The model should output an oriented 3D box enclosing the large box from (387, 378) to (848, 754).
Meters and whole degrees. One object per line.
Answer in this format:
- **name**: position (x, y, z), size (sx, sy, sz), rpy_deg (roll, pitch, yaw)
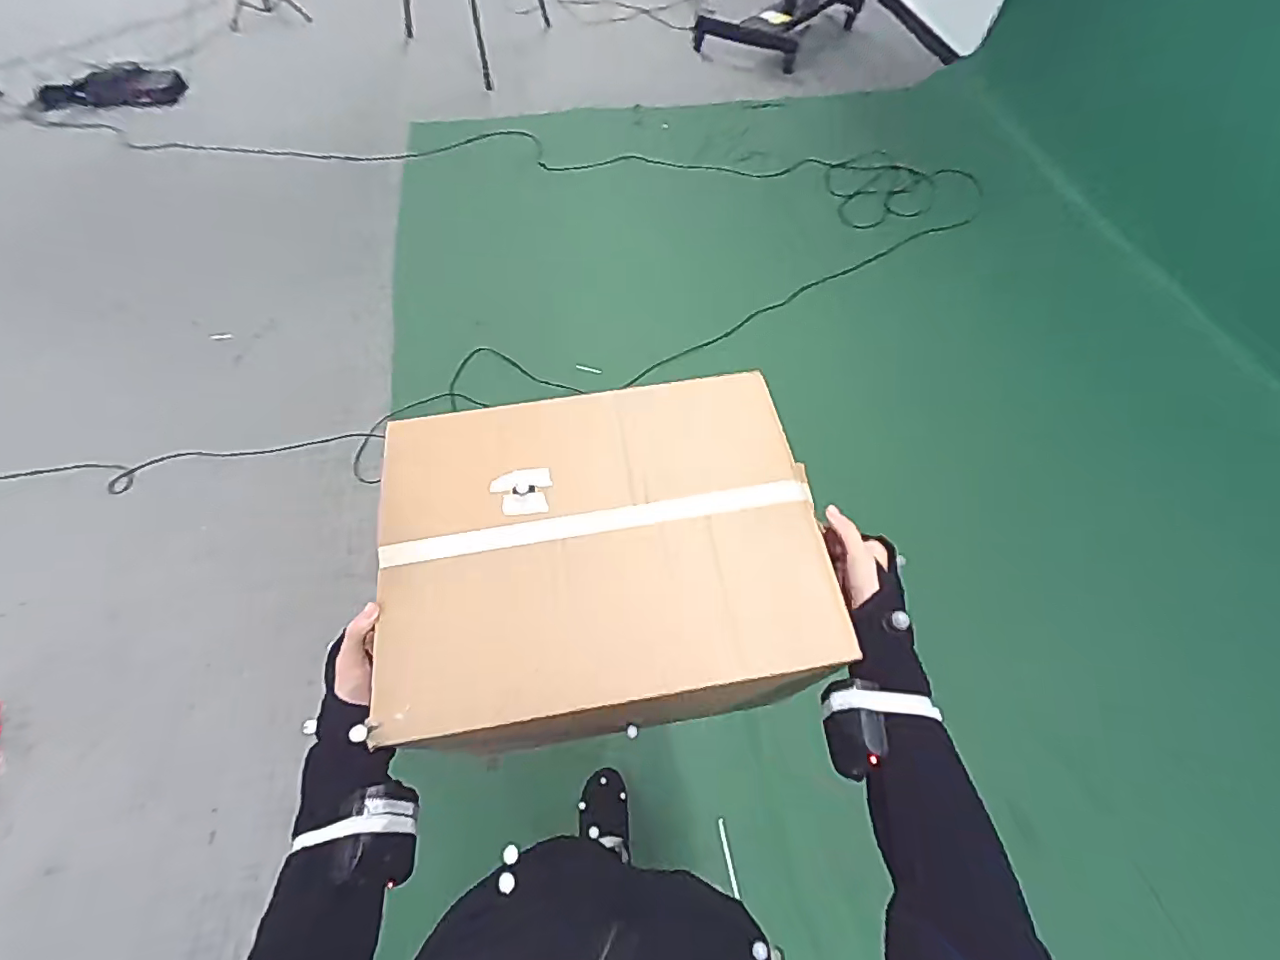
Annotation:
- **large box**: position (-0.035, 0.122, 0.652), size (0.408, 0.320, 0.320), rpy_deg (-10, 61, -4)
